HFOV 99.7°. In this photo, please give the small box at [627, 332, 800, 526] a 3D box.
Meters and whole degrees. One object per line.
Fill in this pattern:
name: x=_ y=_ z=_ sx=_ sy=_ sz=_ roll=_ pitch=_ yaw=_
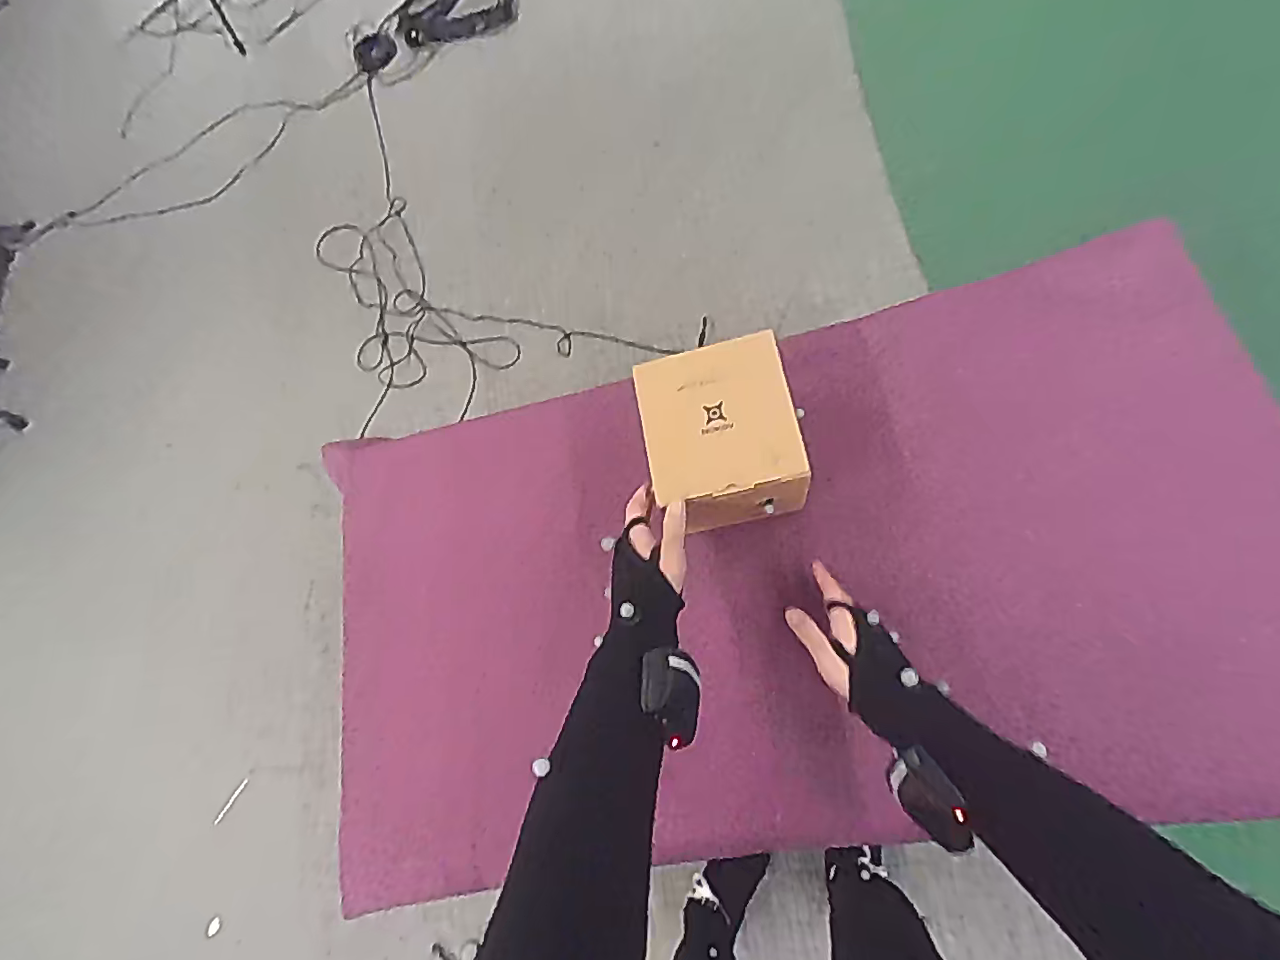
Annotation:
small box: x=0.095 y=-0.048 z=0.666 sx=0.168 sy=0.176 sz=0.179 roll=-13 pitch=72 yaw=10
